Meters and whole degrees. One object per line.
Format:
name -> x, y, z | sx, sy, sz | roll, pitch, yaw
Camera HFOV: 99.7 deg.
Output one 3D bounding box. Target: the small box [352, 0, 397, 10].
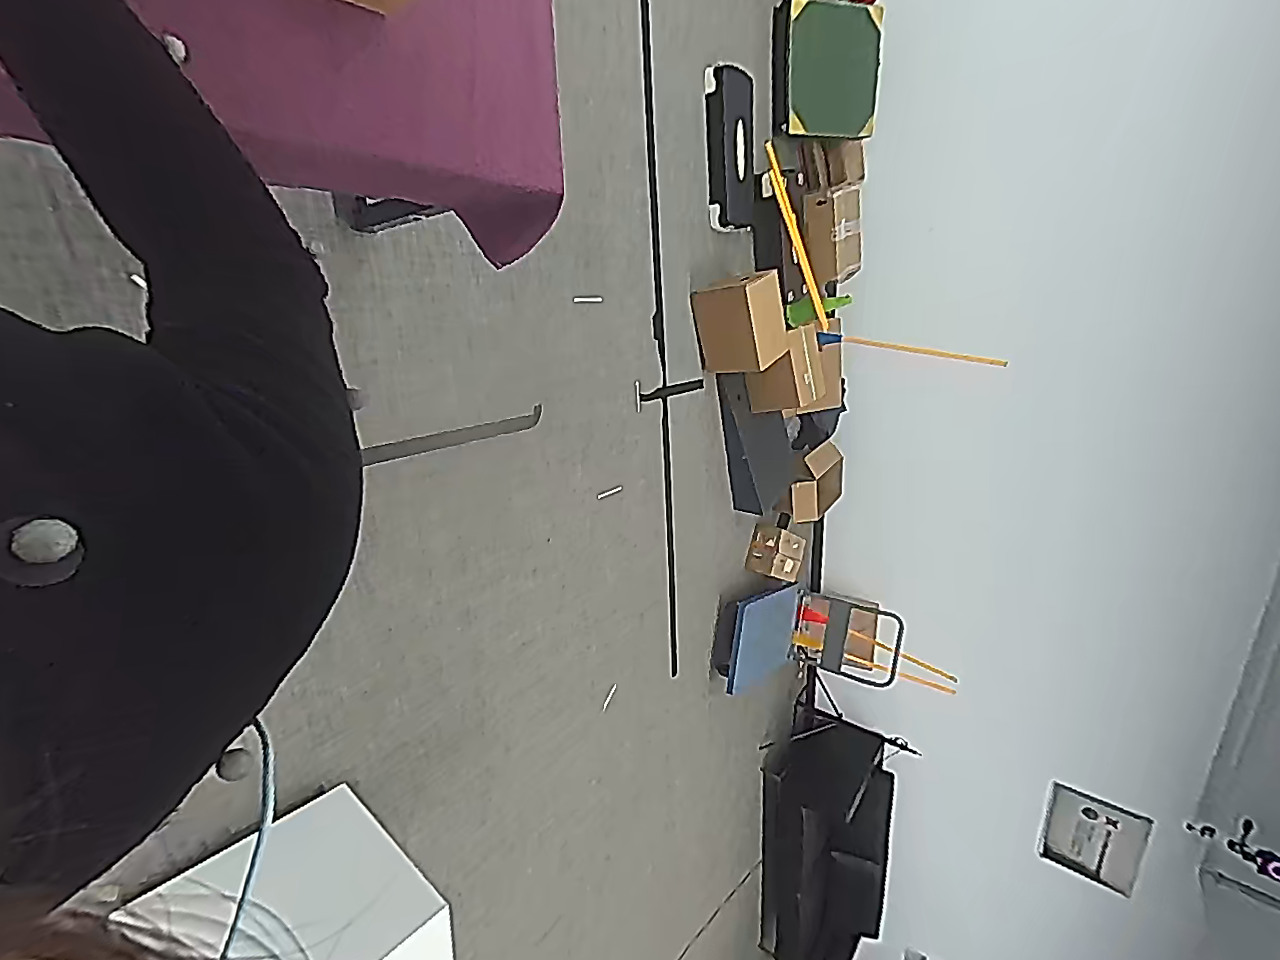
small box -> -0.338, -0.673, 0.597 | 0.168, 0.176, 0.179 | -23, 116, -47
